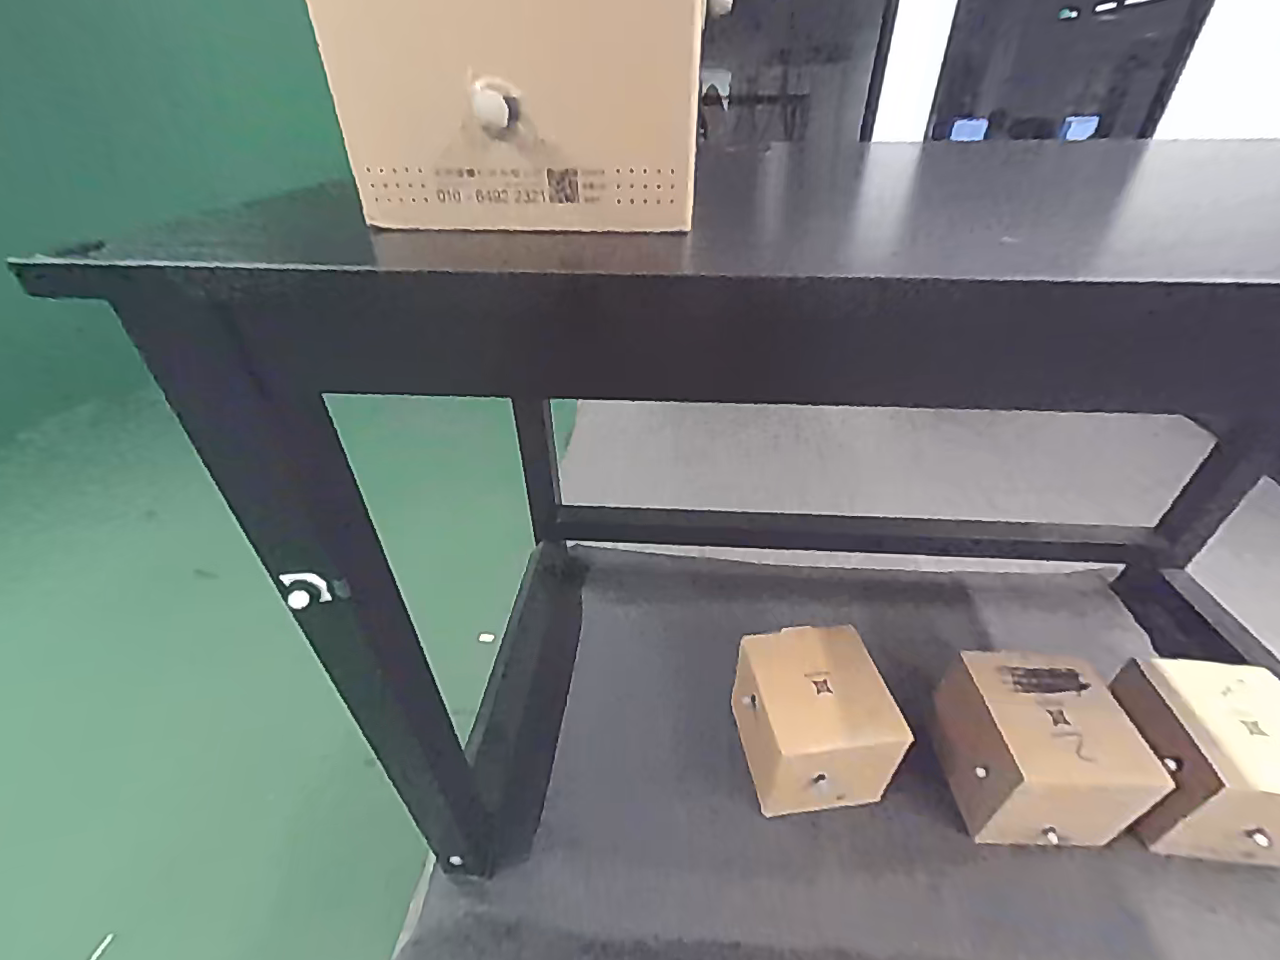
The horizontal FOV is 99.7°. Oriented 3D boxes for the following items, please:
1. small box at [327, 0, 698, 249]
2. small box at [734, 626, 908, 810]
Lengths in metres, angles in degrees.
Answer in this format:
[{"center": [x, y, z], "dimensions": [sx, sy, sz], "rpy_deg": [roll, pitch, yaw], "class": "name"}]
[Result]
[{"center": [-0.053, -0.237, 0.297], "dimensions": [0.168, 0.176, 0.179], "rpy_deg": [2, 36, 4], "class": "small box"}, {"center": [0.235, 0.332, 0.752], "dimensions": [0.168, 0.176, 0.179], "rpy_deg": [-4, 35, -5], "class": "small box"}]
